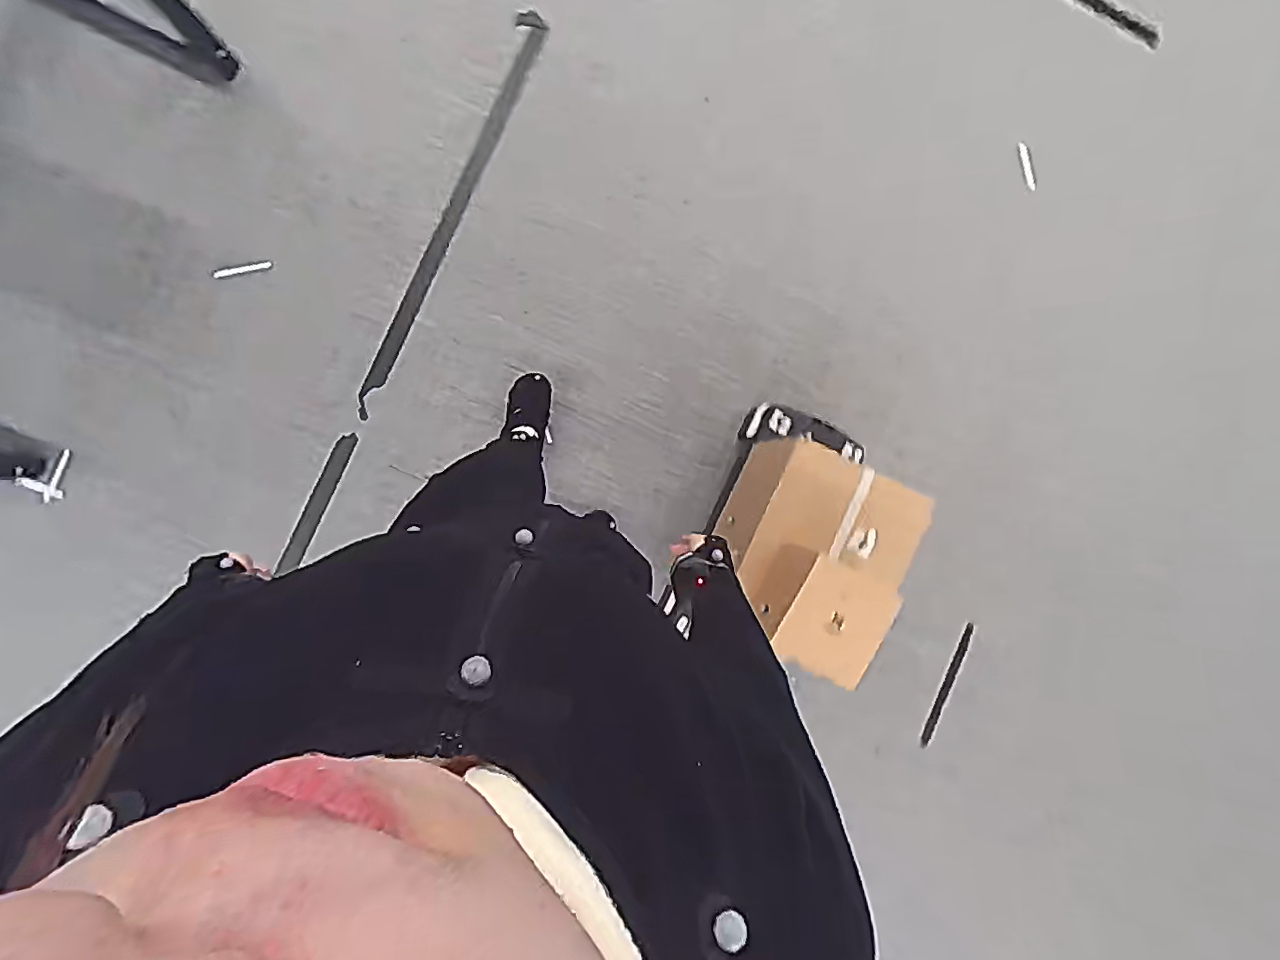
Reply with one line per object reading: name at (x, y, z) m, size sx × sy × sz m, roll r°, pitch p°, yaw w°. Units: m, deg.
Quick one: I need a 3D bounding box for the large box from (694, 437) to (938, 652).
large box at (0.354, 0.160, 1.187) m, size 0.320 × 0.320 × 0.408 m, roll 25°, pitch 88°, yaw -5°

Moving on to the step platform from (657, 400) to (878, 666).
step platform at (0.327, 0.132, 1.423) m, size 0.286 × 0.204 × 0.684 m, roll 31°, pitch 88°, yaw -5°

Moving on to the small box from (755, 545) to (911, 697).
small box at (0.319, 0.232, 0.940) m, size 0.168 × 0.176 × 0.179 m, roll 31°, pitch 88°, yaw -4°
